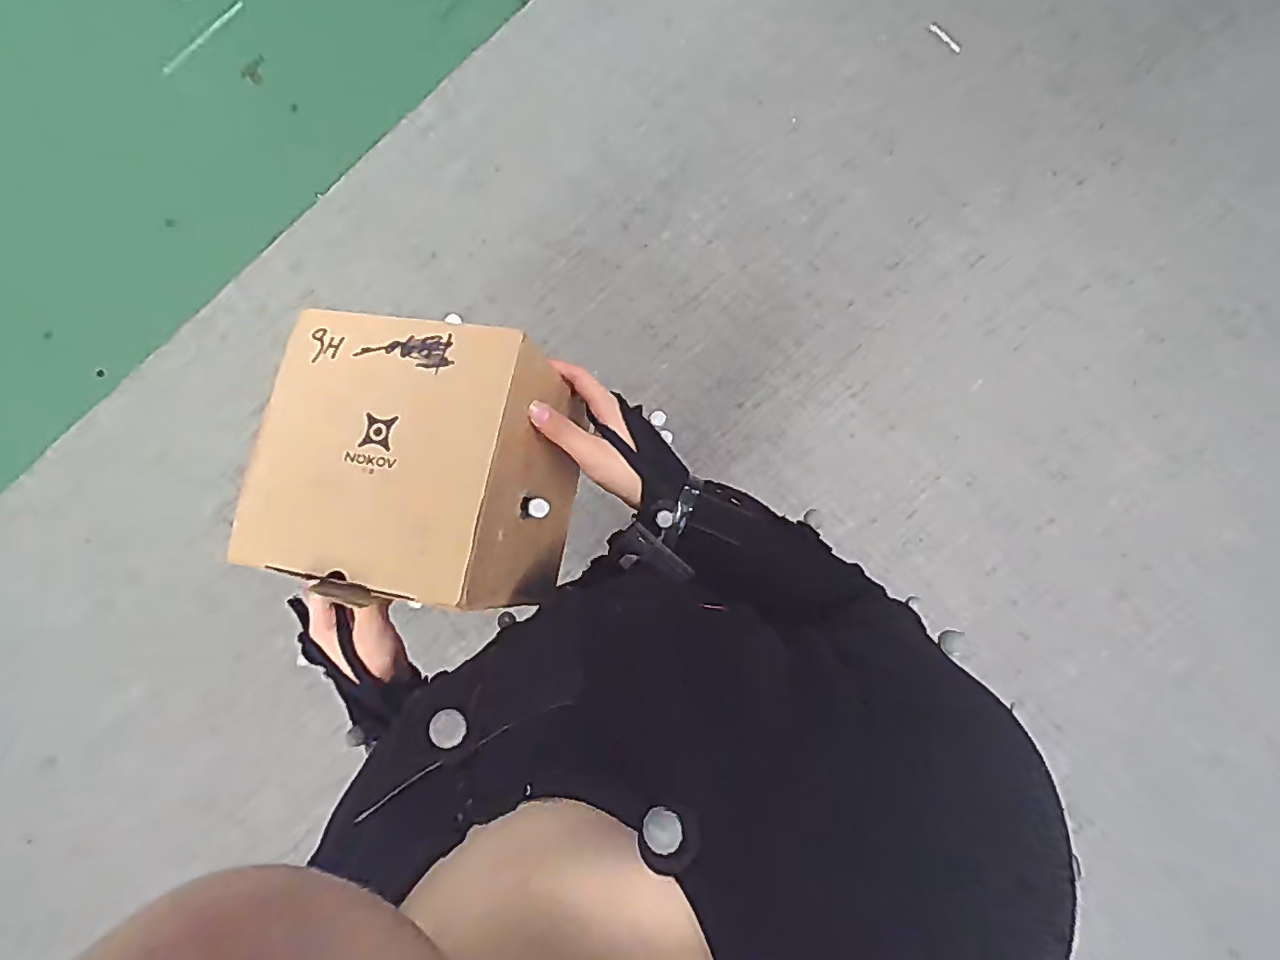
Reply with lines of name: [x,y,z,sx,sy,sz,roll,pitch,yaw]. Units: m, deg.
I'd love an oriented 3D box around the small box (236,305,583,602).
small box: [-0.154,-0.011,0.421,0.168,0.176,0.179,9,81,11]
